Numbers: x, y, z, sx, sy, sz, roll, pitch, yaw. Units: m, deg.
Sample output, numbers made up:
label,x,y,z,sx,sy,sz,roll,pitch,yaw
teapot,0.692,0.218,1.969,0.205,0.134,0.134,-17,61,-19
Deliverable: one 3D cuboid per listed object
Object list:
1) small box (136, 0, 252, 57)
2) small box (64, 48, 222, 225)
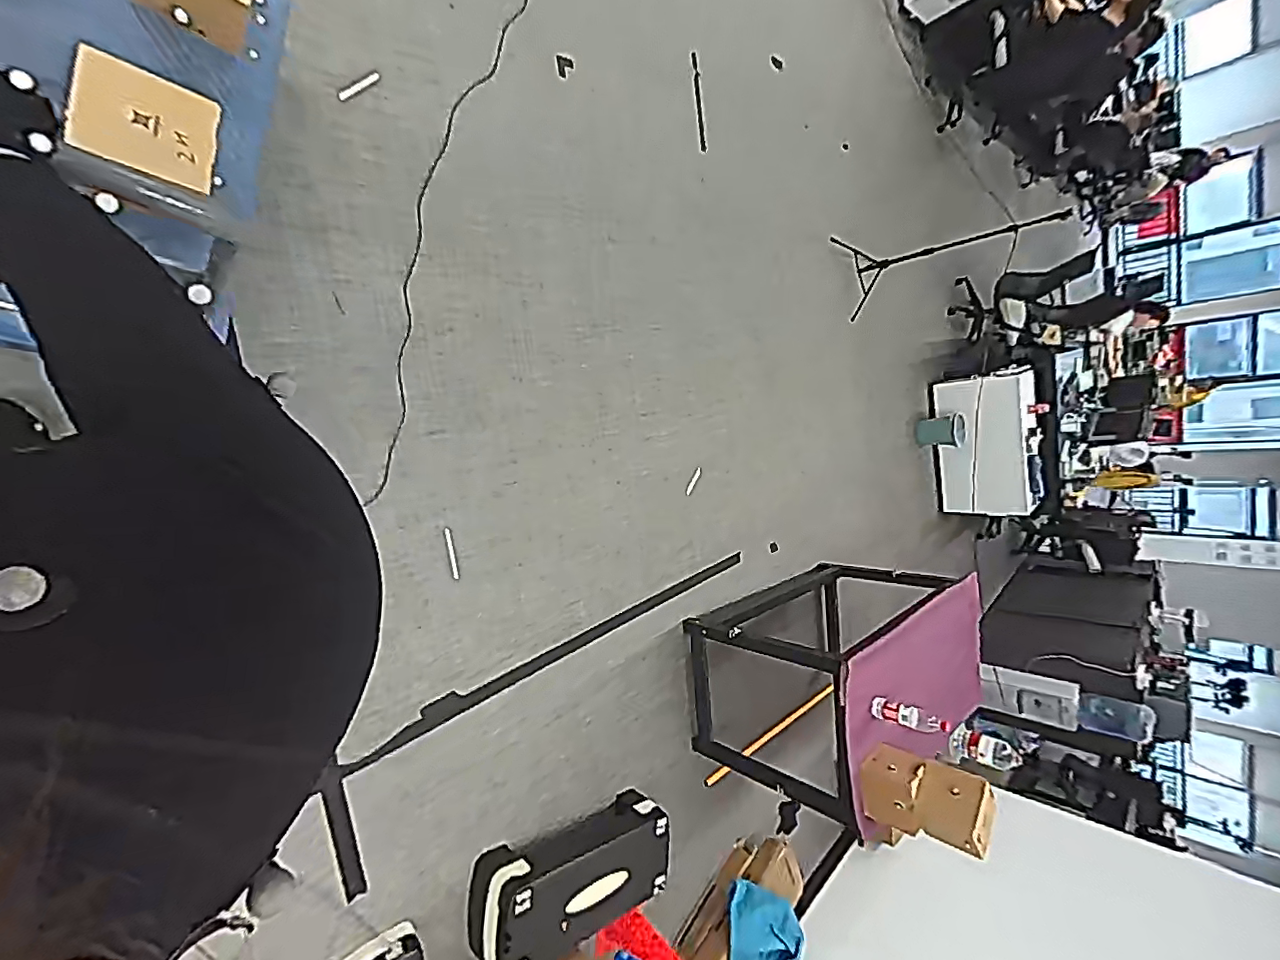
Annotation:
label,x,y,z,sx,sy,sz,roll,pitch,yaw
small box,-0.802,-0.938,0.980,0.168,0.176,0.179,12,82,-42
small box,-0.849,-0.572,0.934,0.179,0.176,0.168,8,85,-42
